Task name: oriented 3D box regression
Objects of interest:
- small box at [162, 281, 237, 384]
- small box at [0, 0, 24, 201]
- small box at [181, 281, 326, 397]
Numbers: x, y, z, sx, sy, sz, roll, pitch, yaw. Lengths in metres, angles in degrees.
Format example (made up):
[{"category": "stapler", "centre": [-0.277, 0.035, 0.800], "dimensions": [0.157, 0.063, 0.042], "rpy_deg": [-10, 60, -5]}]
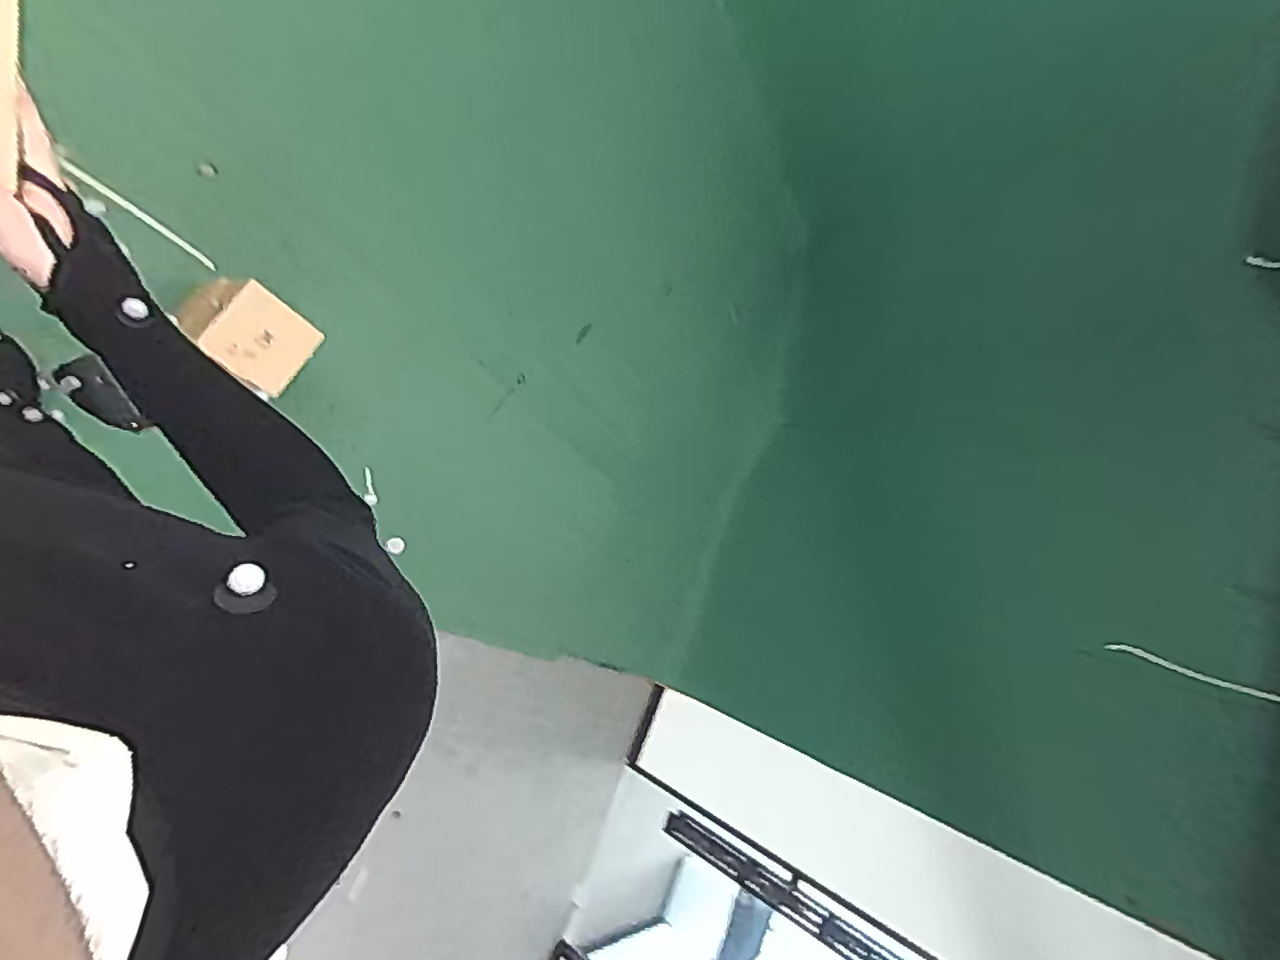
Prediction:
[{"category": "small box", "centre": [-0.956, -0.339, 1.254], "dimensions": [0.168, 0.176, 0.179], "rpy_deg": [45, 66, -48]}, {"category": "small box", "centre": [-0.555, -0.306, 0.361], "dimensions": [0.168, 0.176, 0.179], "rpy_deg": [-6, 108, -60]}, {"category": "small box", "centre": [-0.829, -0.302, 1.156], "dimensions": [0.168, 0.176, 0.179], "rpy_deg": [48, 64, -47]}]
